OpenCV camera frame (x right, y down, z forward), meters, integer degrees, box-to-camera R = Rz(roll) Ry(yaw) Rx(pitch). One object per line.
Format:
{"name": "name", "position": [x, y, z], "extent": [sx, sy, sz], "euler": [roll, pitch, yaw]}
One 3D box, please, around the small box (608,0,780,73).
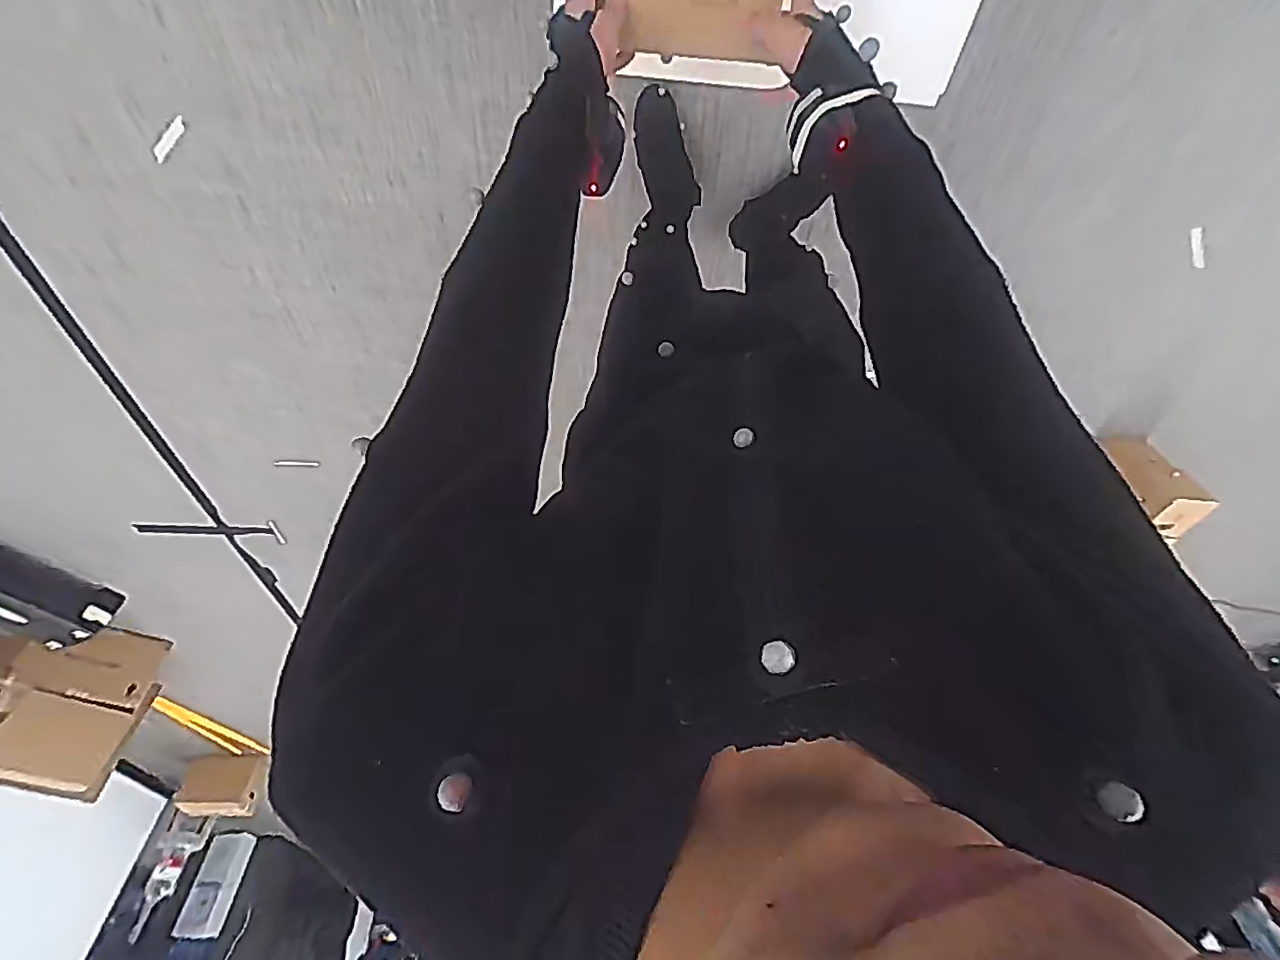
{"name": "small box", "position": [0.054, -0.540, 0.551], "extent": [0.168, 0.176, 0.179], "euler": [3, 132, -4]}
